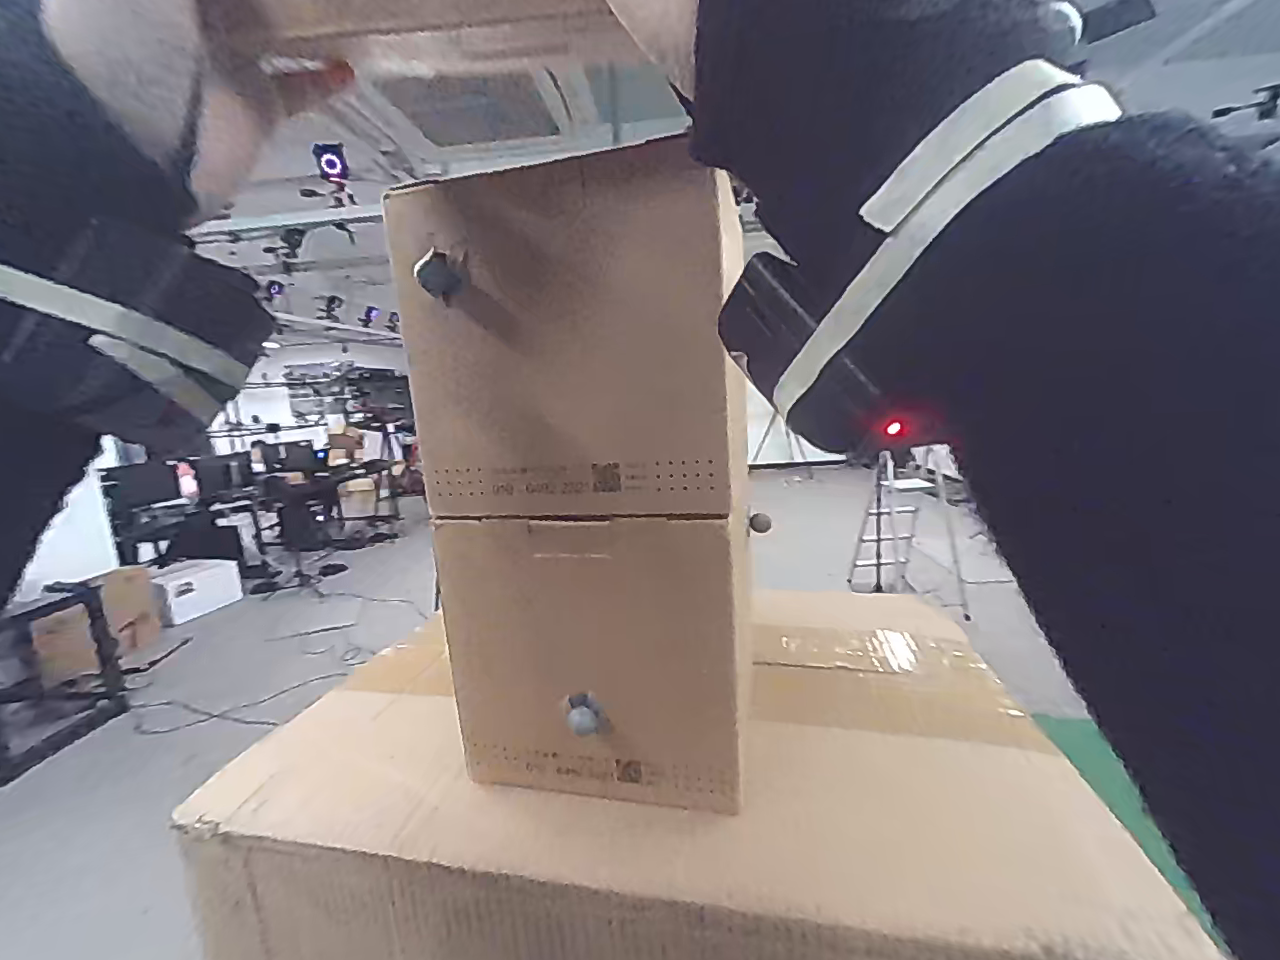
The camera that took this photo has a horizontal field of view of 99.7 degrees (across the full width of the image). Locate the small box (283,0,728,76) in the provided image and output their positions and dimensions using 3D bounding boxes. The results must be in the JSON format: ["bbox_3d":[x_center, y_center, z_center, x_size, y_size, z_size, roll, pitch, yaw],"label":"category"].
[{"bbox_3d":[-0.047,-0.264,0.210,0.168,0.176,0.179,2,37,7],"label":"small box"}]

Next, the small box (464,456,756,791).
[{"bbox_3d":[-0.003,0.079,0.388,0.168,0.176,0.179,0,13,13],"label":"small box"}]
